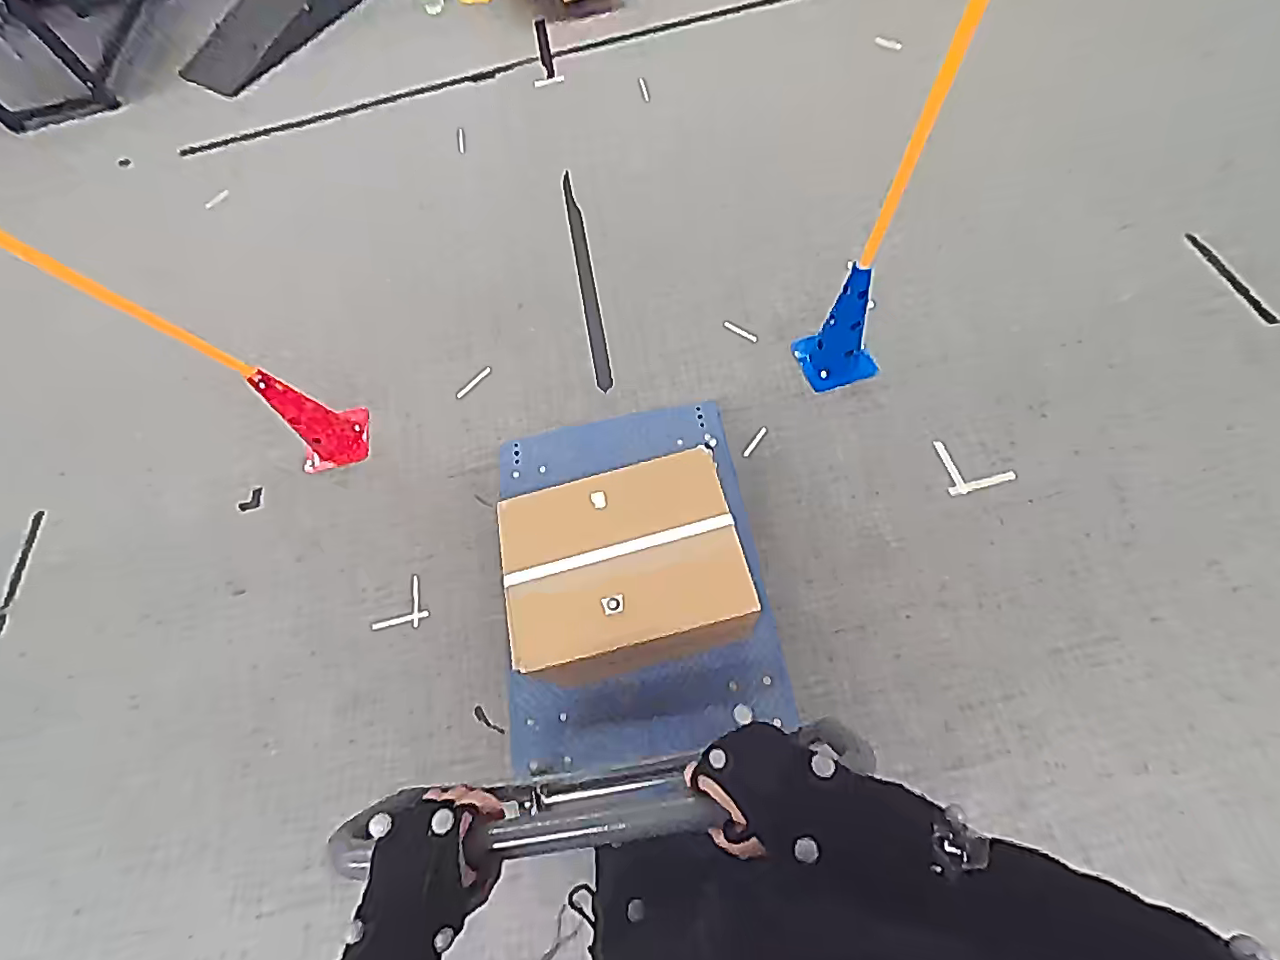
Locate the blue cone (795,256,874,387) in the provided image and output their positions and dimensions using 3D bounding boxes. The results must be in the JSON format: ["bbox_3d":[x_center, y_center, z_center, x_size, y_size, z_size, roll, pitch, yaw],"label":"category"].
[{"bbox_3d":[0.558,-0.435,1.456,0.193,0.380,0.192,-16,63,-1],"label":"blue cone"}]
